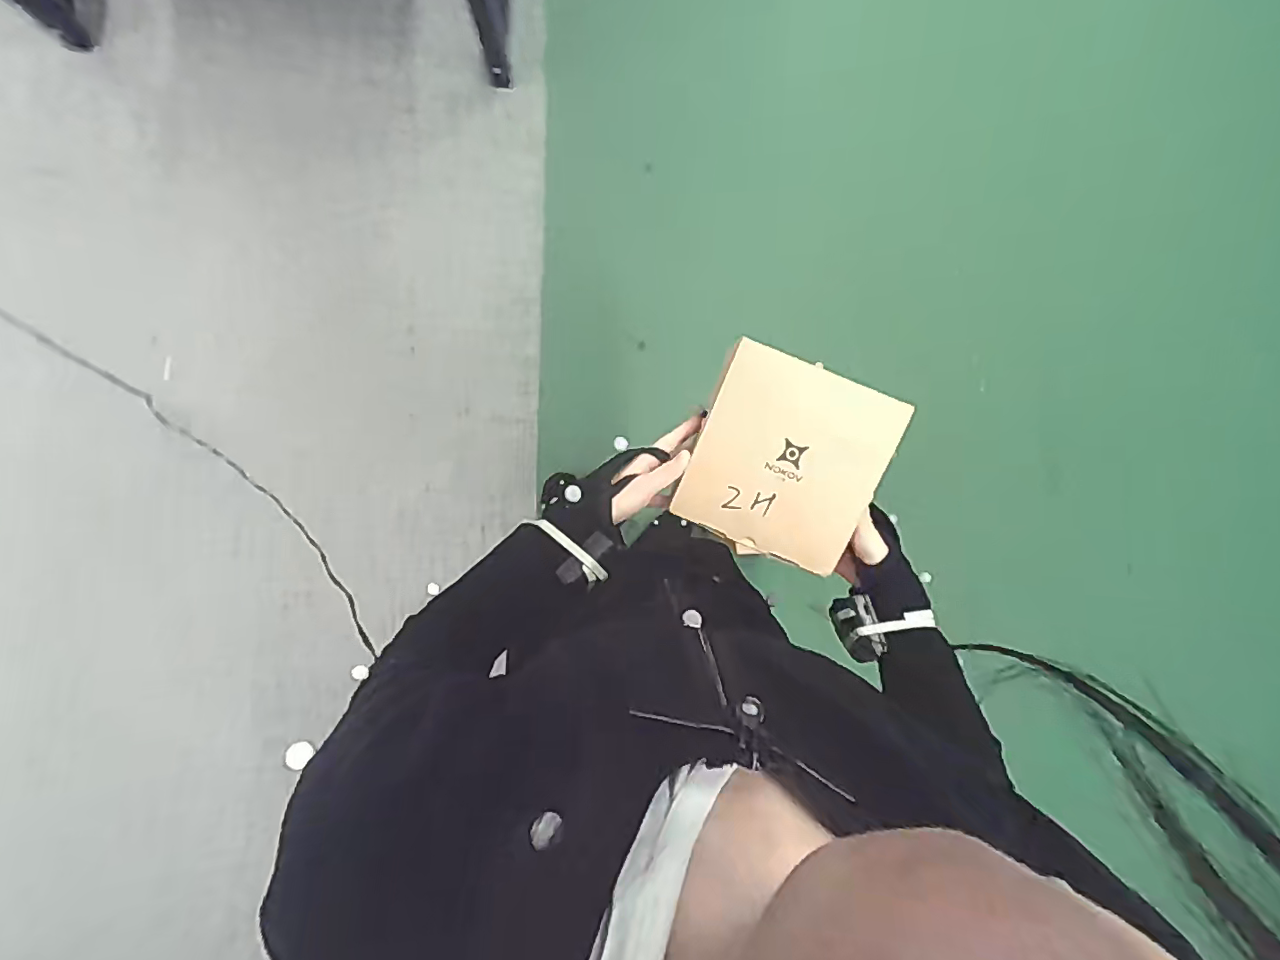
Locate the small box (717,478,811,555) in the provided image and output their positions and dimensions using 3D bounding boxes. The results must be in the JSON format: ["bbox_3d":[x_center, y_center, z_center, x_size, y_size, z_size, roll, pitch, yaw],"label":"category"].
[{"bbox_3d":[0.283,0.080,1.262,0.179,0.176,0.168,-3,90,-3],"label":"small box"}]
